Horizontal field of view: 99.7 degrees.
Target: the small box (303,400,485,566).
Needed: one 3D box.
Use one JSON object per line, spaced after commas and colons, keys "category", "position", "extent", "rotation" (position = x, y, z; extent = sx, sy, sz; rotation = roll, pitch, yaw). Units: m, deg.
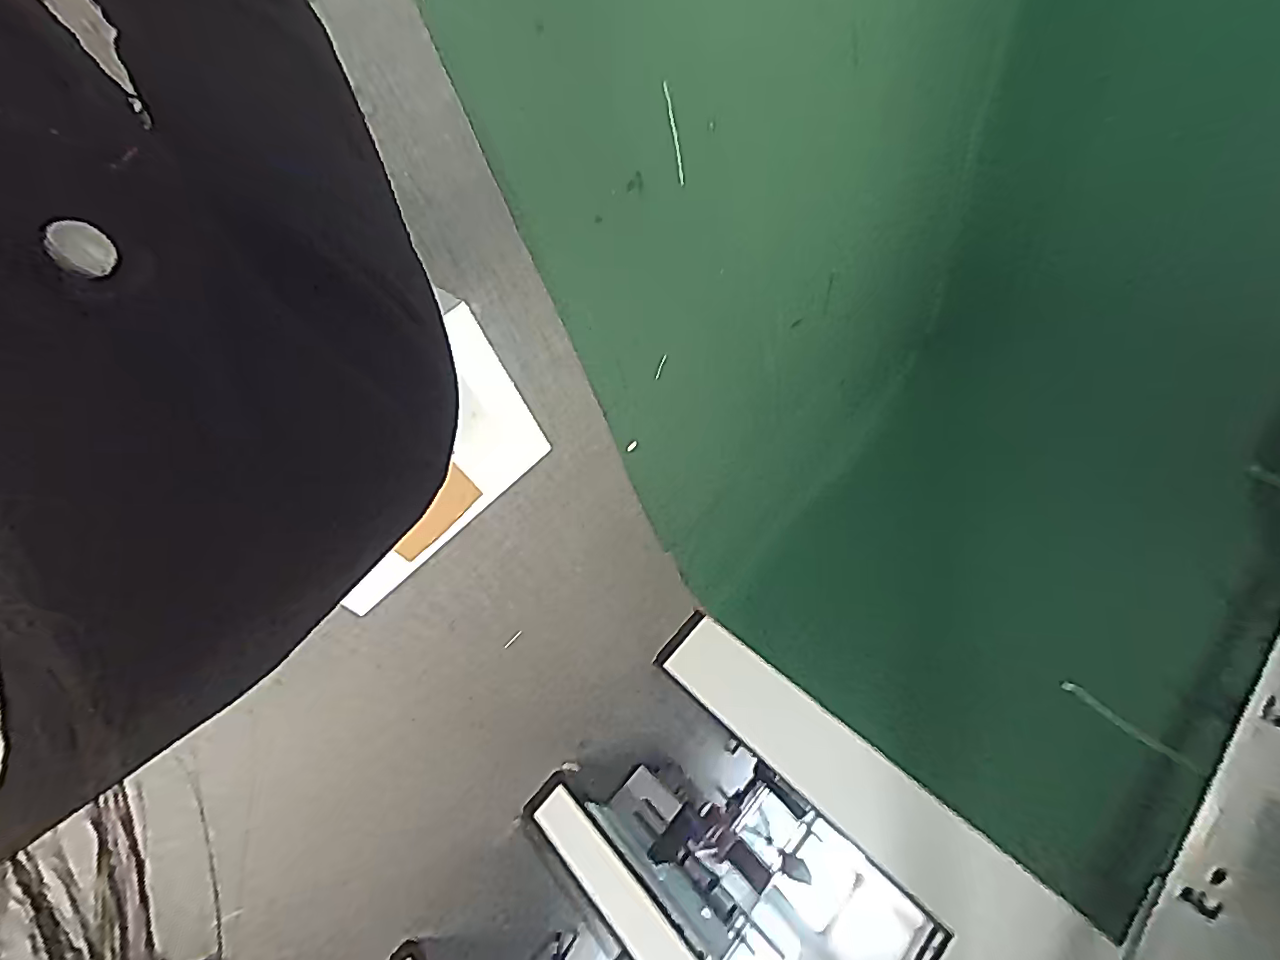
{"category": "small box", "position": [-0.393, 0.002, 0.871], "extent": [0.168, 0.176, 0.179], "rotation": [-47, 144, -14]}
